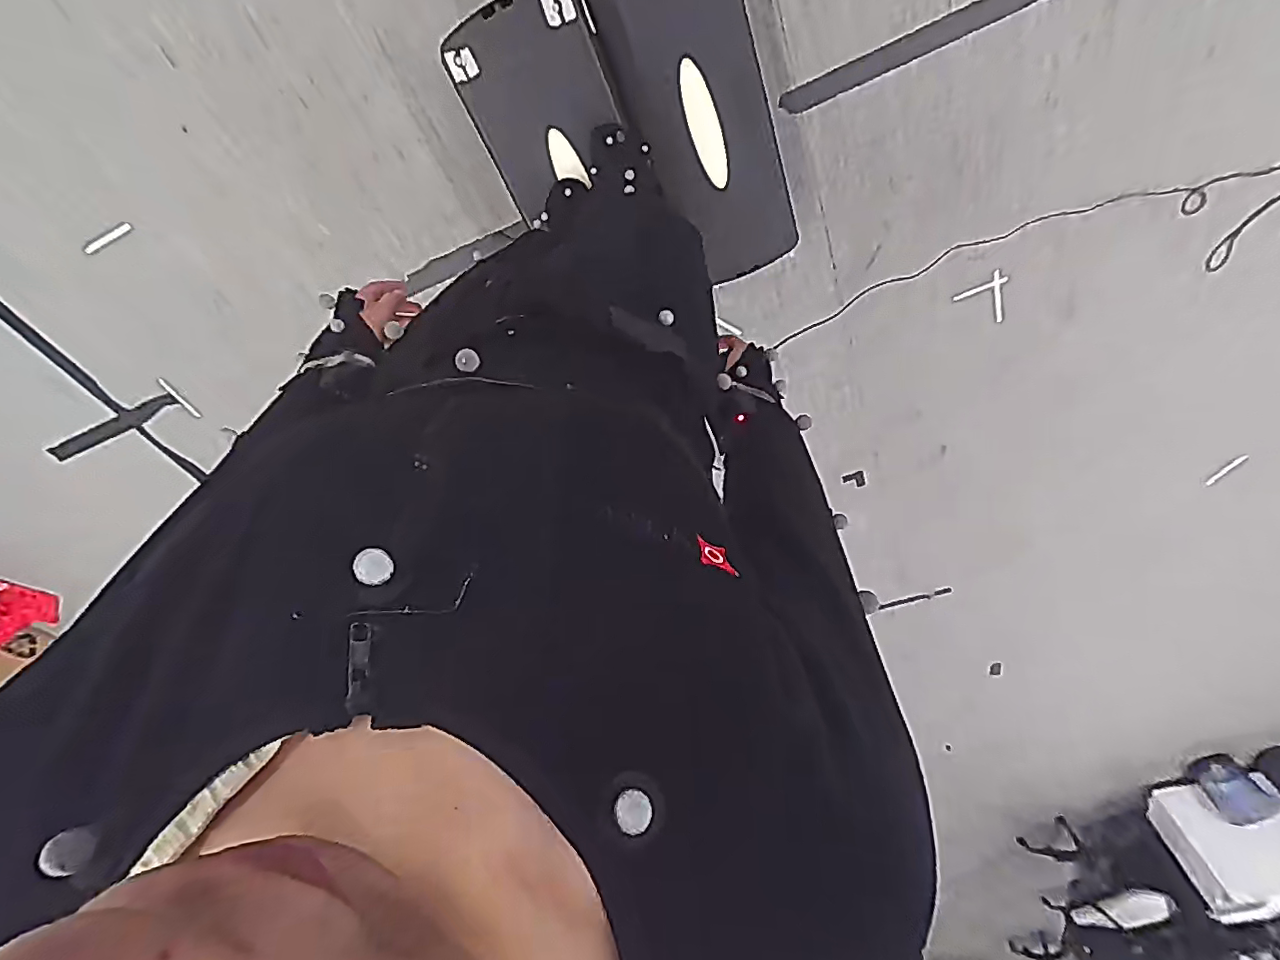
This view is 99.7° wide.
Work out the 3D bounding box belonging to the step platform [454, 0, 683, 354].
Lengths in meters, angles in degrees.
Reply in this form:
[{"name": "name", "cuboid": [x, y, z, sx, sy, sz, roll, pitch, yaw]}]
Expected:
[{"name": "step platform", "cuboid": [-0.126, -0.632, 1.210, 0.286, 0.204, 0.684, -17, 123, 10]}]
